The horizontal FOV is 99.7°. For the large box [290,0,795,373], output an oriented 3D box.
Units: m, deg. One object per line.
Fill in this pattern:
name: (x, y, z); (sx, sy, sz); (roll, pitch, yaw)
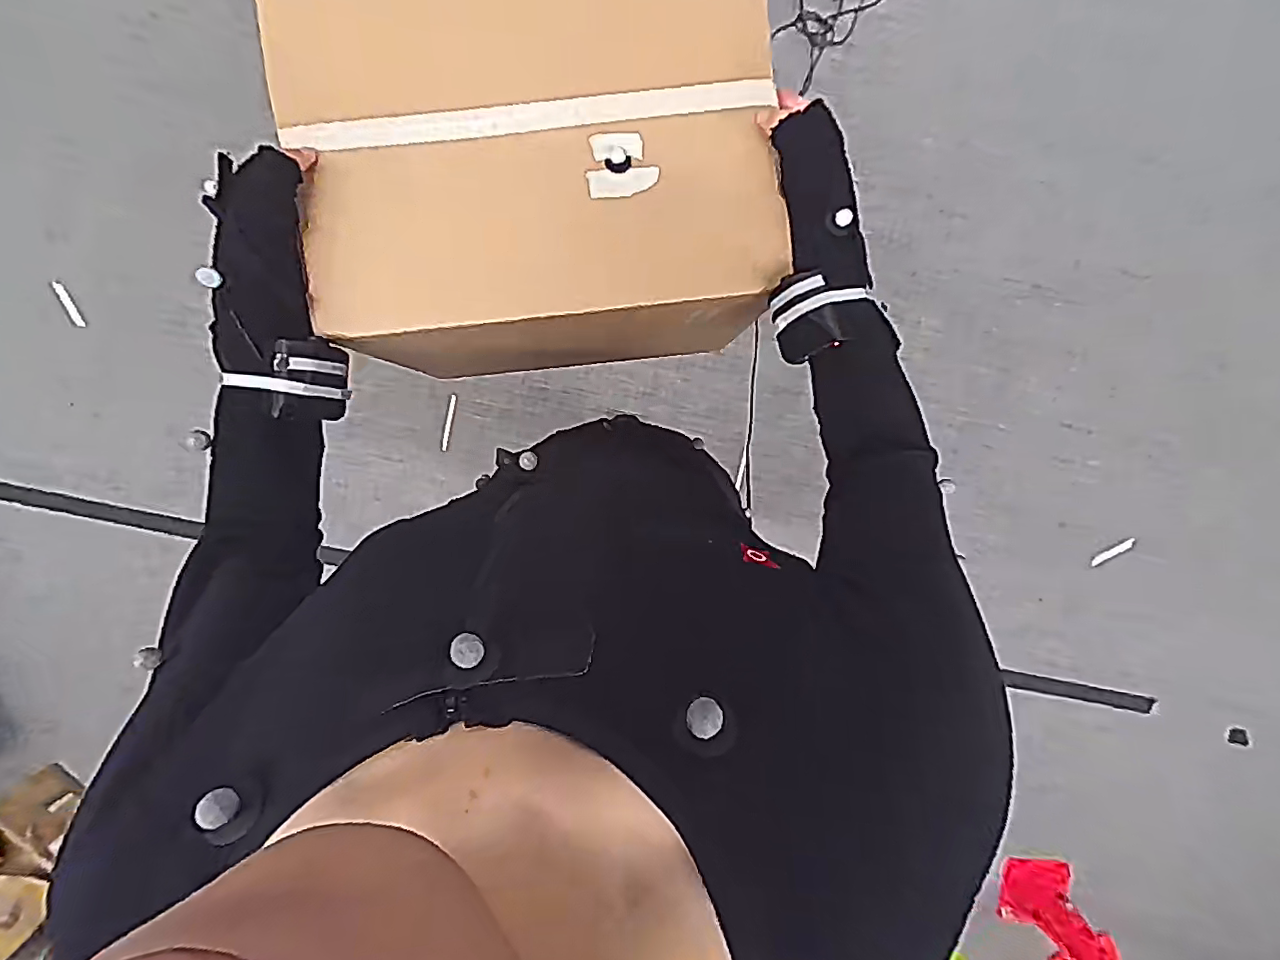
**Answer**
large box: (-0.085, -0.314, 0.604); (0.408, 0.320, 0.320); (-6, 94, -2)
